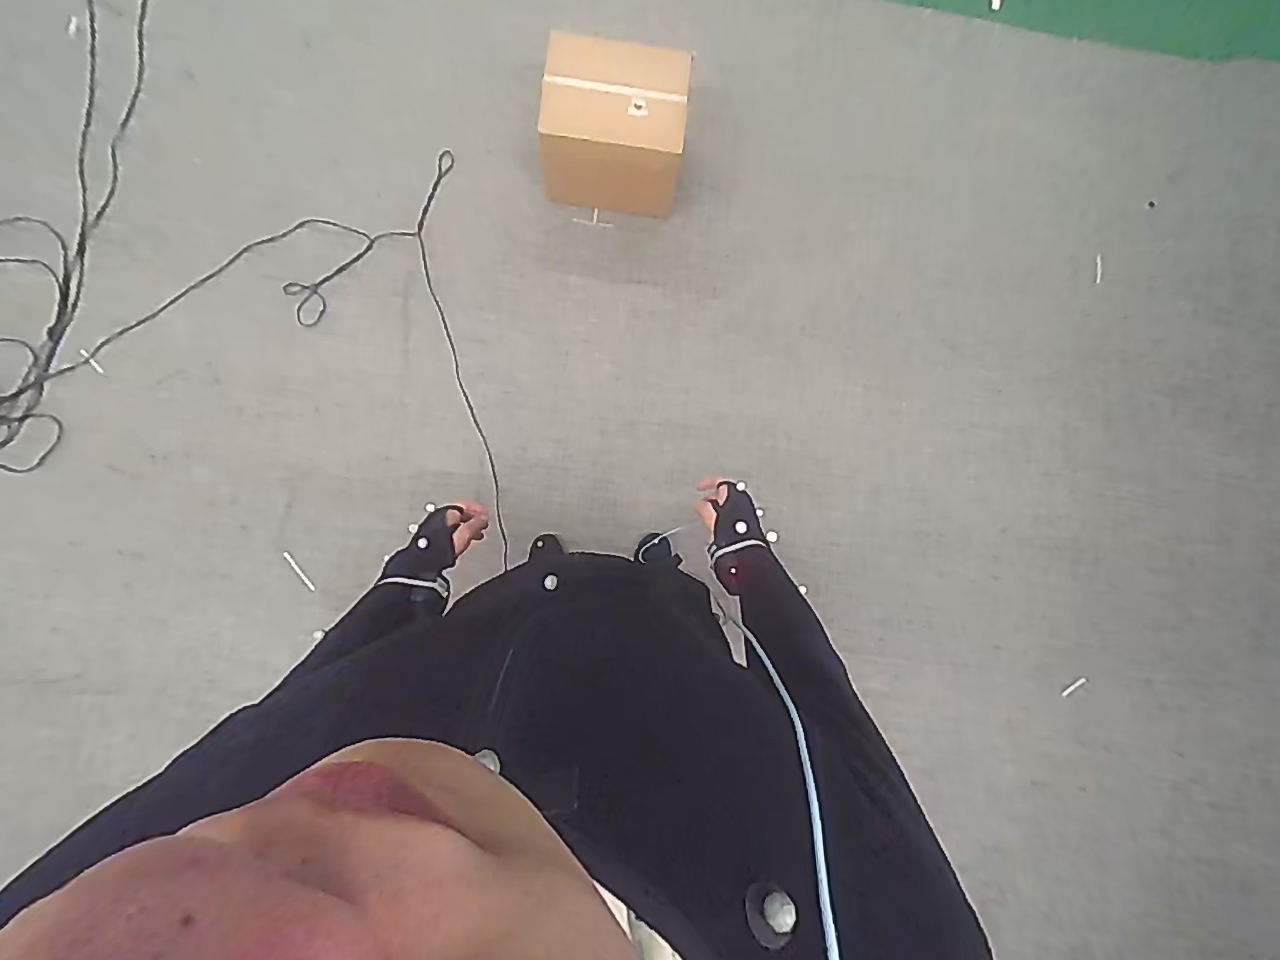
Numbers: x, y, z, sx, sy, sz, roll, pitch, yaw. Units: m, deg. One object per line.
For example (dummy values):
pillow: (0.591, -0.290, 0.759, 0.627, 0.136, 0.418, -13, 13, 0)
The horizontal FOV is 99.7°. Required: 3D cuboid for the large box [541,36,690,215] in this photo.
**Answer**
large box: (-0.078, -1.059, 1.653, 0.408, 0.320, 0.320, 6, 84, -4)
